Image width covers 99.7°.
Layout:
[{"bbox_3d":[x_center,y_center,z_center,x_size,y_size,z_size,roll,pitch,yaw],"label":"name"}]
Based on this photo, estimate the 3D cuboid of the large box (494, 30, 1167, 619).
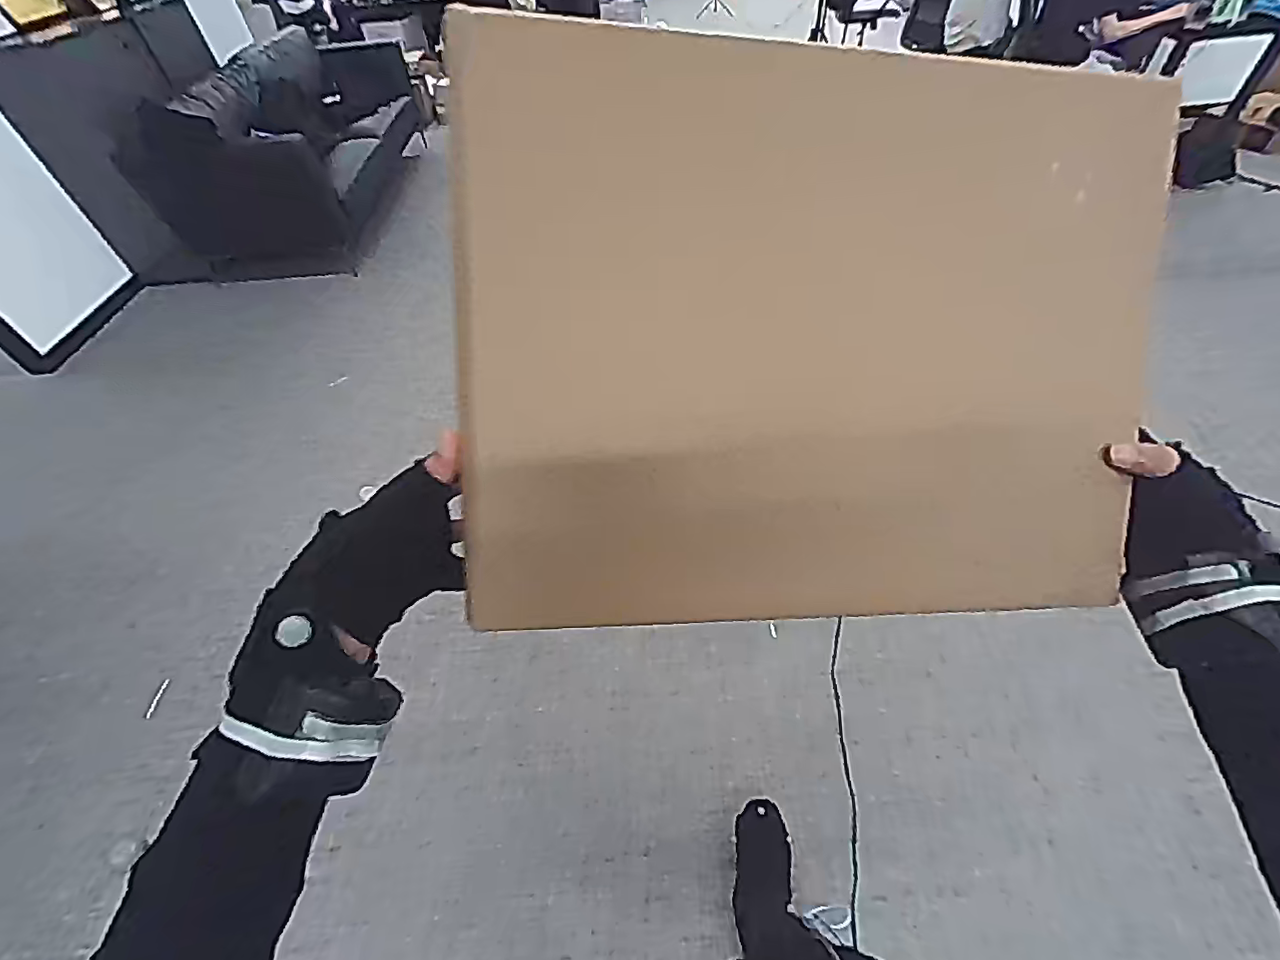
[{"bbox_3d":[0.096,-0.084,0.458,0.408,0.320,0.320,1,8,-8],"label":"large box"}]
